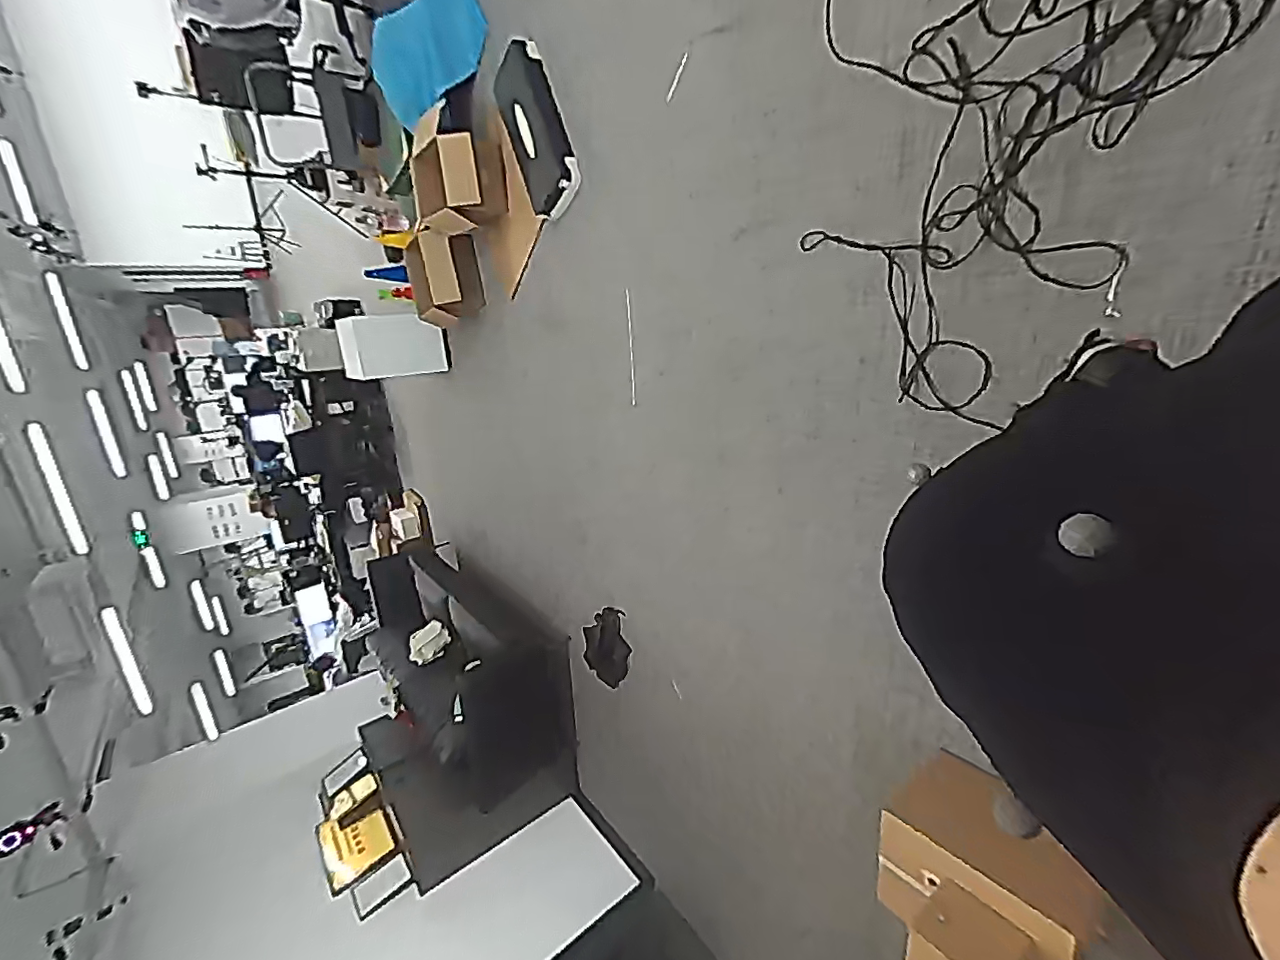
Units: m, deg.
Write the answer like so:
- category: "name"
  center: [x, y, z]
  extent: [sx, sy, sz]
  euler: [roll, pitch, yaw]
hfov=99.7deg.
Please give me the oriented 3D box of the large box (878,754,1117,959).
- category: "large box"
  center: [0.865, 0.979, 1.337]
  extent: [0.408, 0.320, 0.320]
  euler: [16, 115, 51]
